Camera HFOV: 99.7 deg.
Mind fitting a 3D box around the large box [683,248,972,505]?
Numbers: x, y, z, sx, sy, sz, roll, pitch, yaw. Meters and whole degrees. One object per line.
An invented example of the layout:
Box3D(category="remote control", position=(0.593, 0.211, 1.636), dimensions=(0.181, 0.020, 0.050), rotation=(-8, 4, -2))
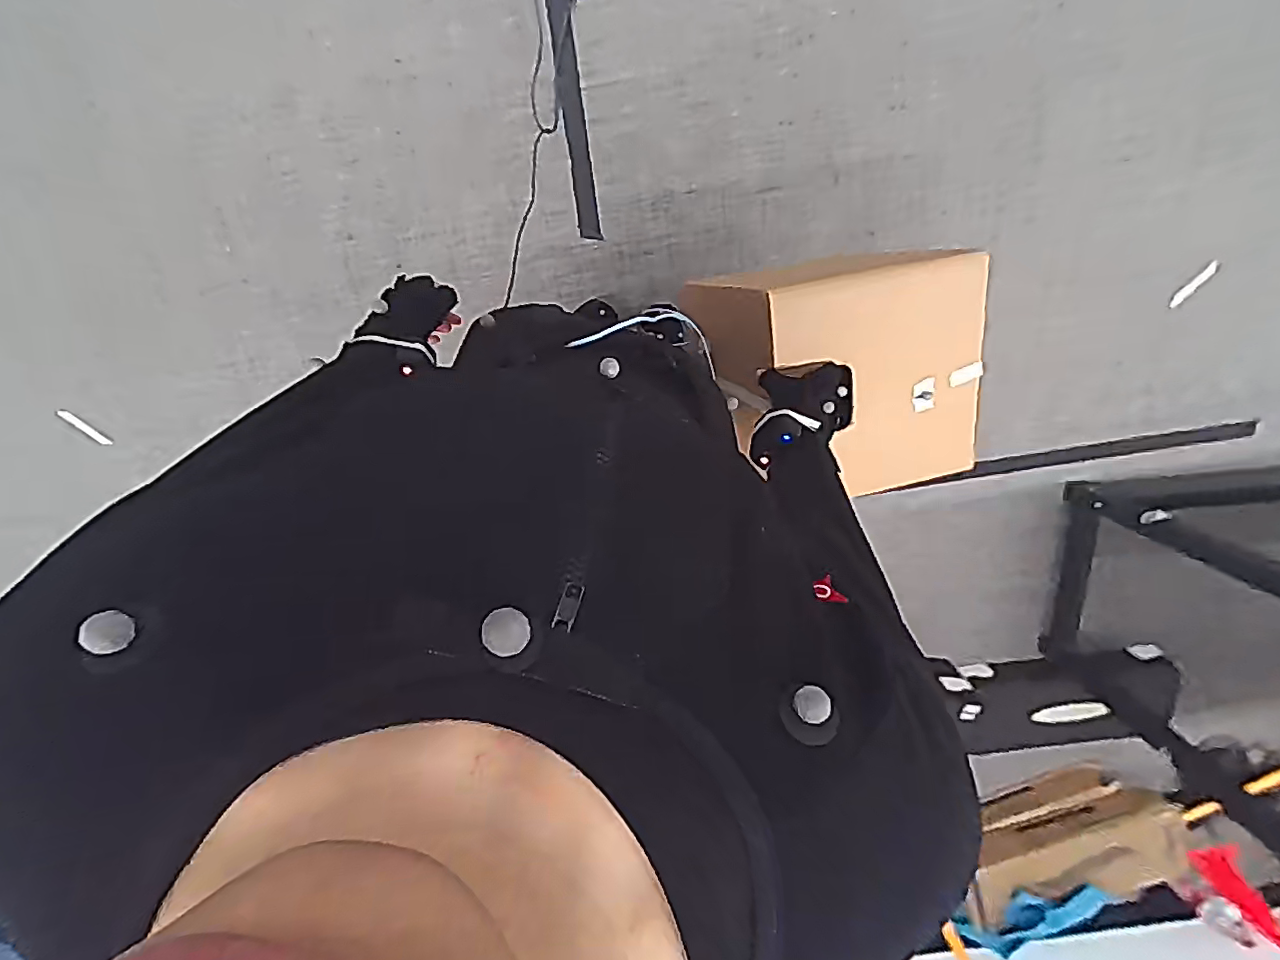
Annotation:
Box3D(category="large box", position=(0.291, -0.199, 0.934), dimensions=(0.320, 0.408, 0.320), rotation=(-13, 112, -6))
